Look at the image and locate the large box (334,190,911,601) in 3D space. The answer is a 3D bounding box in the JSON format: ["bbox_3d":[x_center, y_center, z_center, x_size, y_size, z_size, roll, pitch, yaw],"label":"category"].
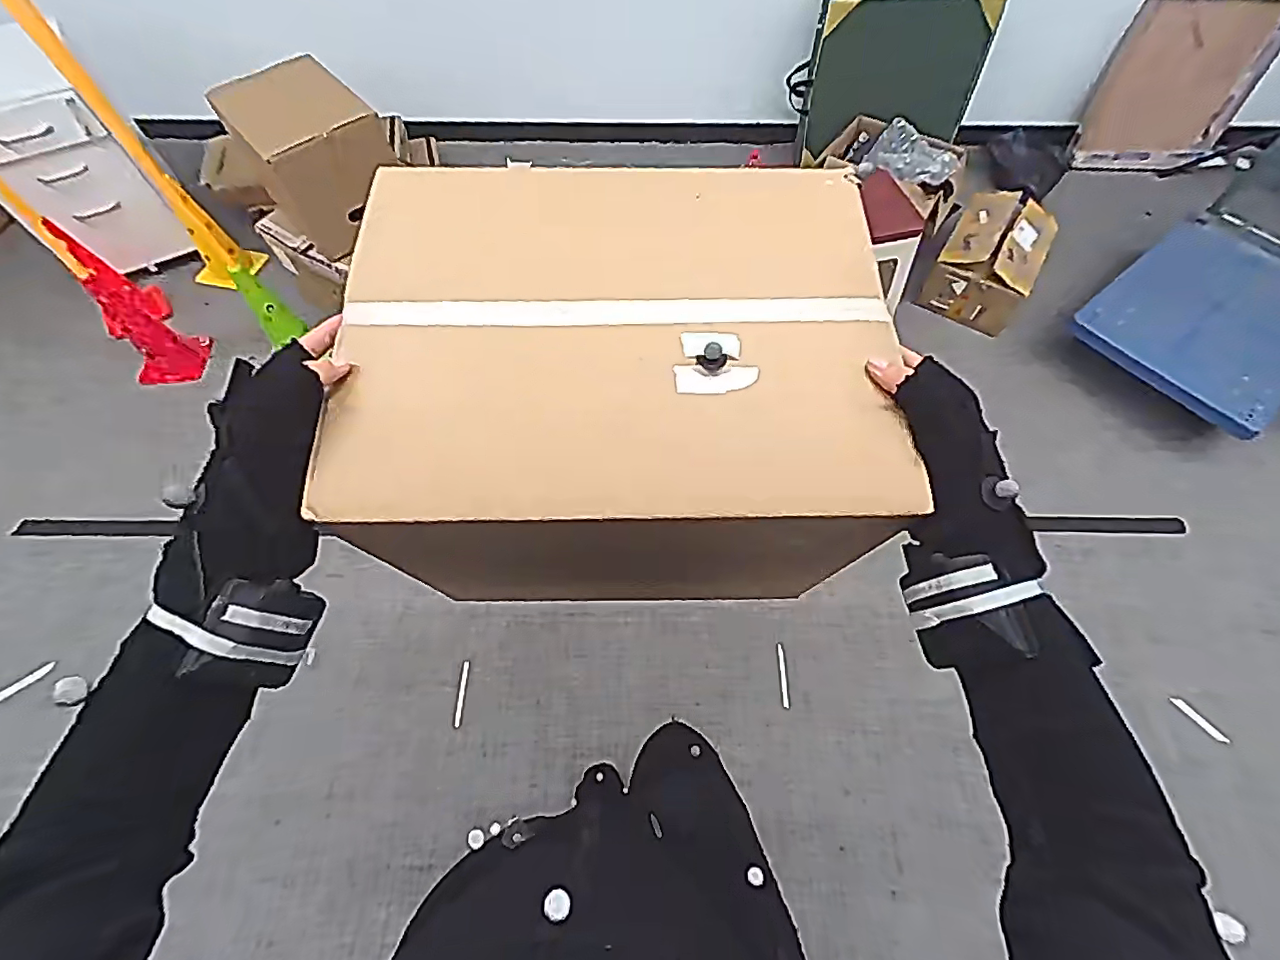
[{"bbox_3d":[-0.017,-0.061,0.561,0.408,0.320,0.320,0,68,-1],"label":"large box"}]
